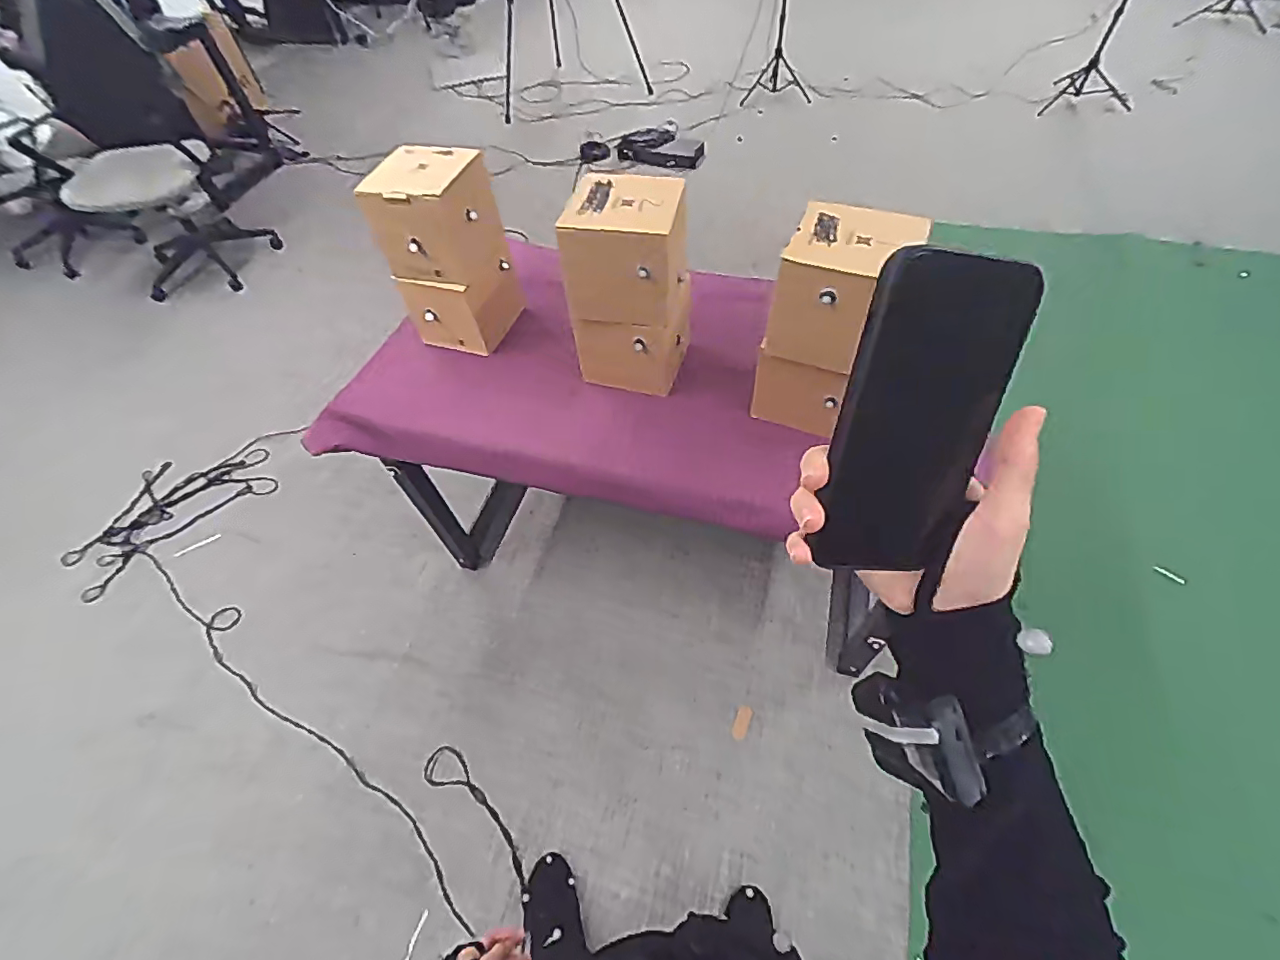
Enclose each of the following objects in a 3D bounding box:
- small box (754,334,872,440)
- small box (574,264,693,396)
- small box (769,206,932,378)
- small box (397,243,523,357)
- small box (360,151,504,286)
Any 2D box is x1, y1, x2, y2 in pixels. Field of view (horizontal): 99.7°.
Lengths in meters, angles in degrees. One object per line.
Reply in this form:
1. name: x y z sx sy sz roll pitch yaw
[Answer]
1. small box: 0.312 -0.194 0.949 0.179 0.176 0.168 18 57 18
2. small box: -0.005 -0.283 1.038 0.179 0.176 0.168 13 56 14
3. small box: 0.304 -0.277 0.807 0.179 0.176 0.168 19 57 17
4. small box: -0.367 -0.386 1.145 0.168 0.176 0.179 14 56 14
5. small box: -0.375 -0.489 1.017 0.168 0.176 0.179 10 56 11
